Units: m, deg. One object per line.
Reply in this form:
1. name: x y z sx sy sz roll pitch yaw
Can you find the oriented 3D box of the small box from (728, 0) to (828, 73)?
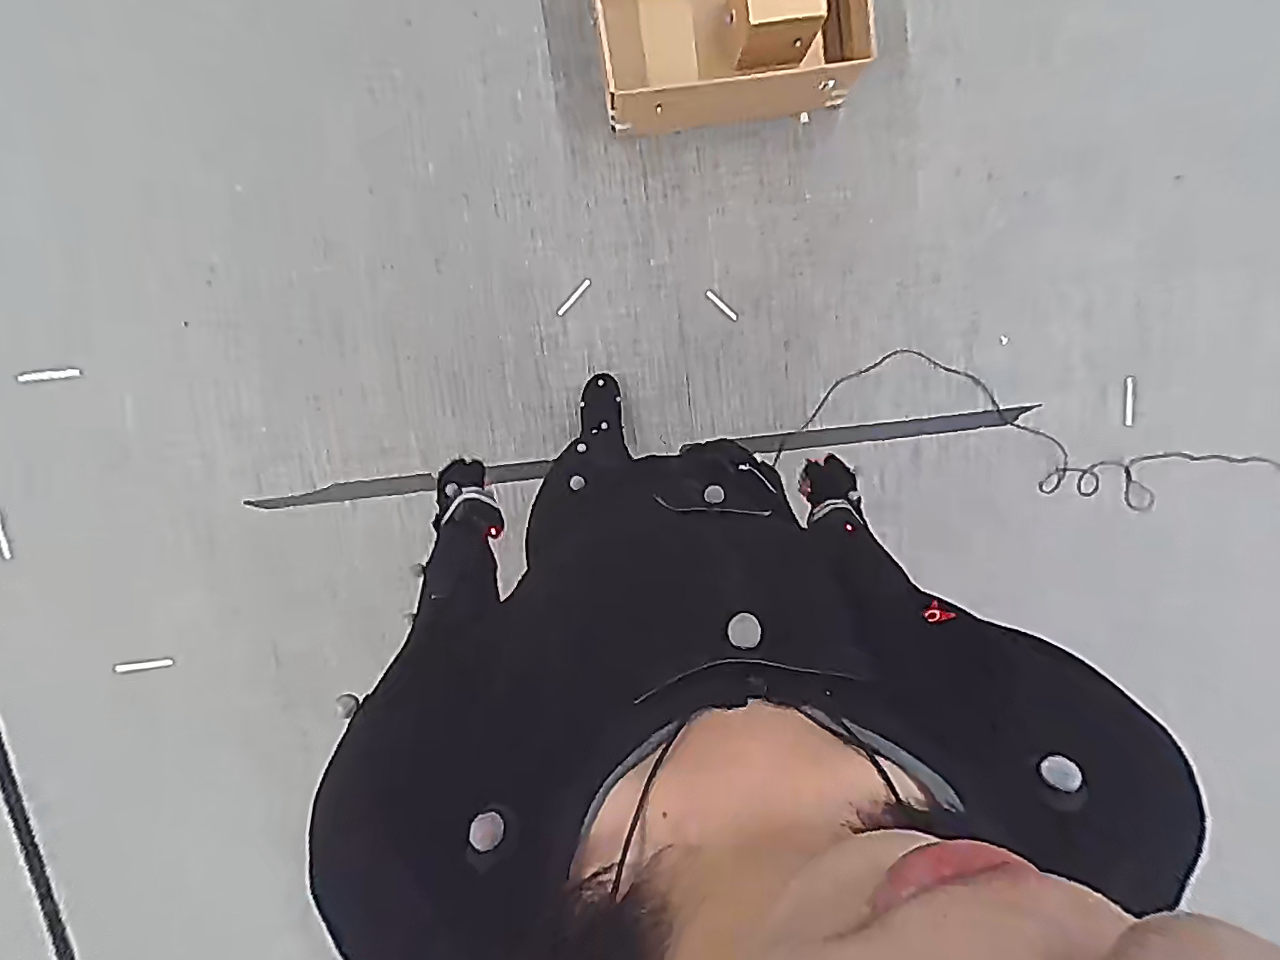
1. small box: 0.316 -1.094 1.259 0.179 0.176 0.168 -10 97 0
